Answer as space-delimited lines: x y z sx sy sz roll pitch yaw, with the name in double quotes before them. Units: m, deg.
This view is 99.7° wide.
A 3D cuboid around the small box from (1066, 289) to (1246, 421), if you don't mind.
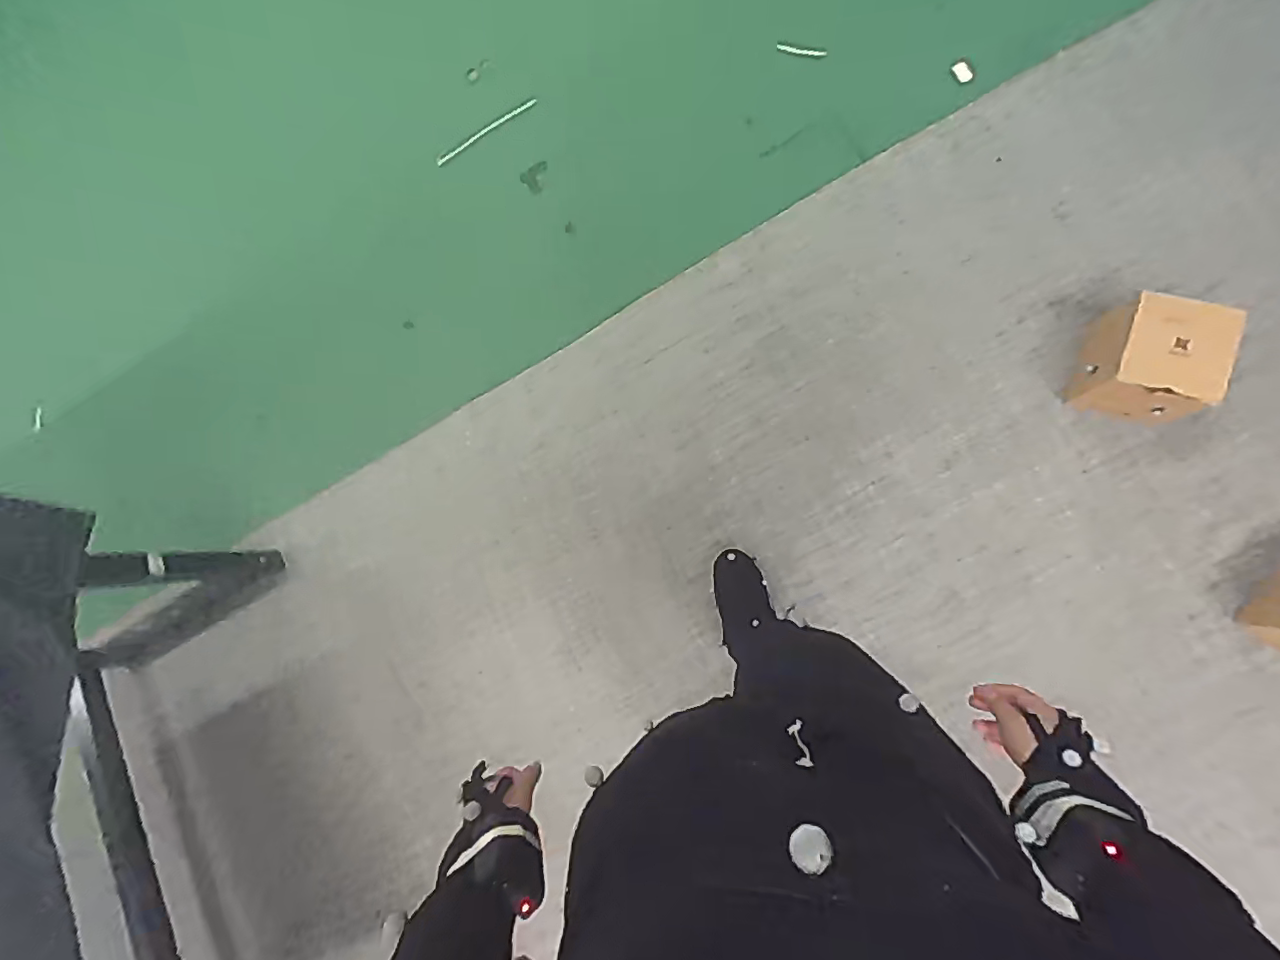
"small box" 0.952 -0.224 1.018 0.168 0.176 0.179 18 86 12
